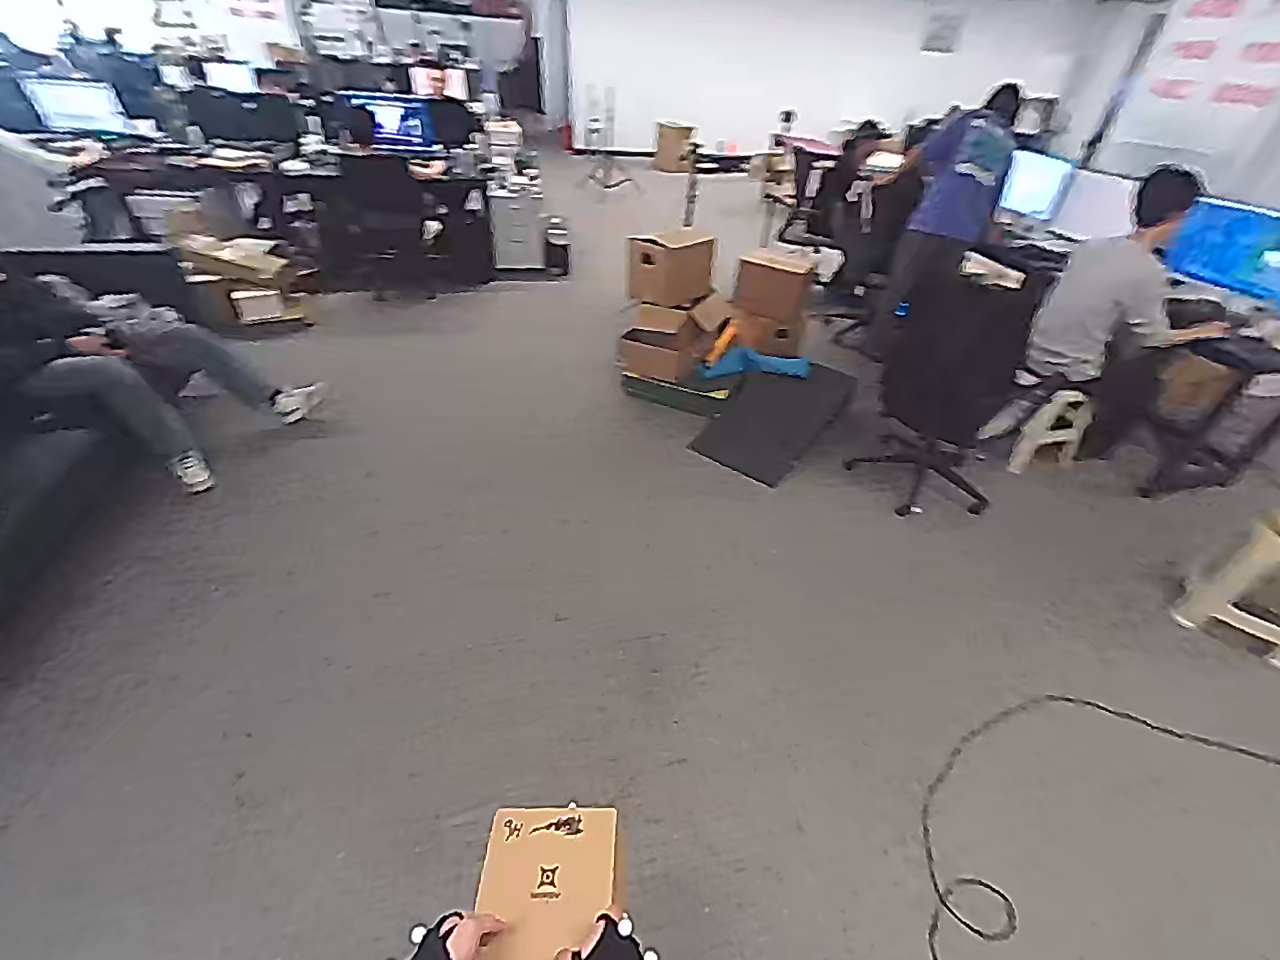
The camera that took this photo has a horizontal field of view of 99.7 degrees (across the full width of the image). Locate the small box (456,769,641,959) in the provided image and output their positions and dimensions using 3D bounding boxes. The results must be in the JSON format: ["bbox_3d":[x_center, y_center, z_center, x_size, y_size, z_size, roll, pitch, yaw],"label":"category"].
[{"bbox_3d":[-0.116,0.537,0.716,0.179,0.176,0.168,-24,40,-20],"label":"small box"}]
